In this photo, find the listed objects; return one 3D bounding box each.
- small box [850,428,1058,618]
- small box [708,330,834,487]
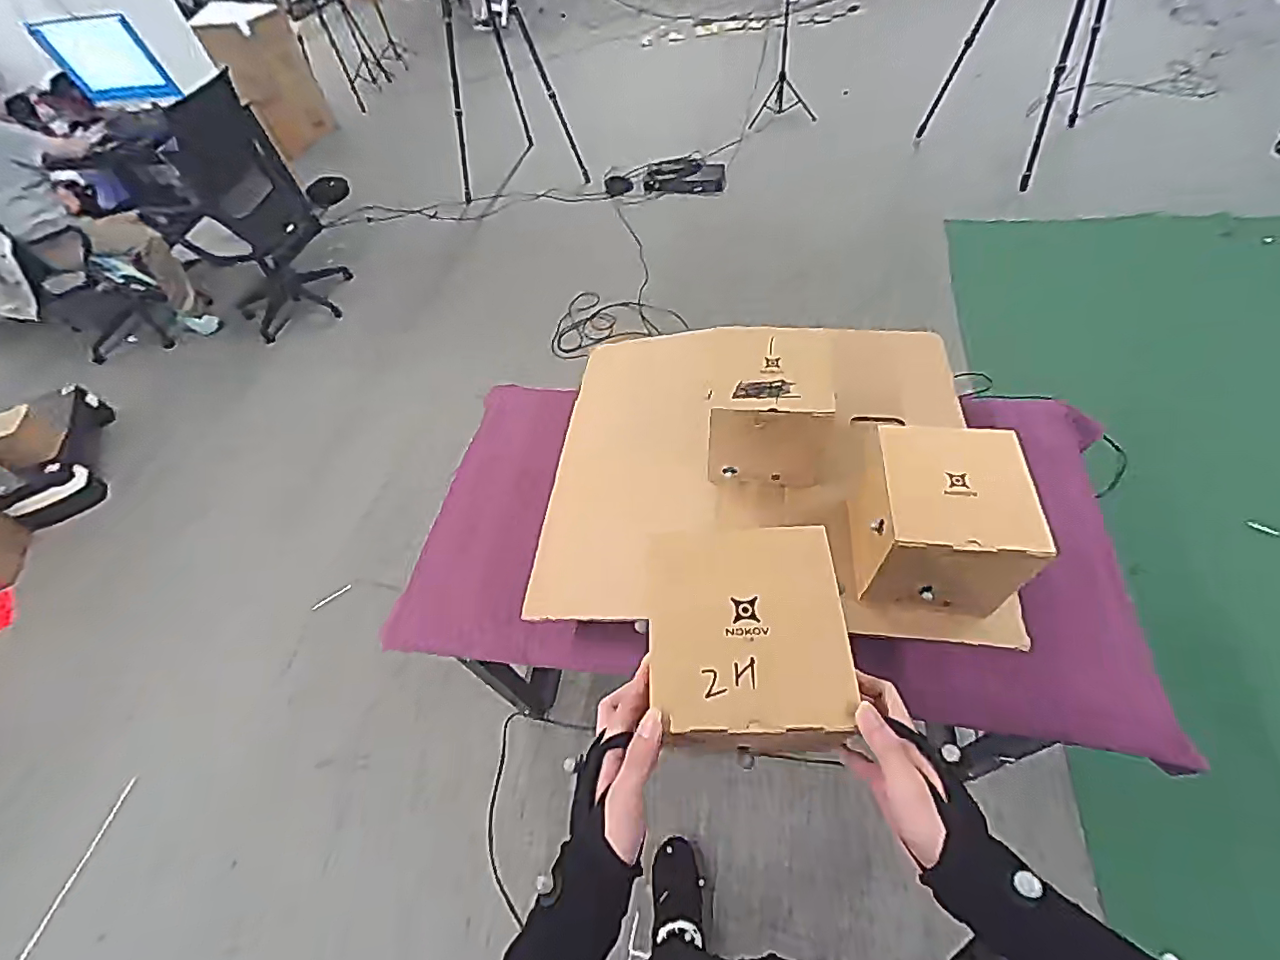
[{"bbox_3d":[0.376,0.057,0.691,0.168,0.176,0.179,3,55,8],"label":"small box"},{"bbox_3d":[0.191,-0.106,0.824,0.168,0.176,0.179,3,54,7],"label":"small box"}]
